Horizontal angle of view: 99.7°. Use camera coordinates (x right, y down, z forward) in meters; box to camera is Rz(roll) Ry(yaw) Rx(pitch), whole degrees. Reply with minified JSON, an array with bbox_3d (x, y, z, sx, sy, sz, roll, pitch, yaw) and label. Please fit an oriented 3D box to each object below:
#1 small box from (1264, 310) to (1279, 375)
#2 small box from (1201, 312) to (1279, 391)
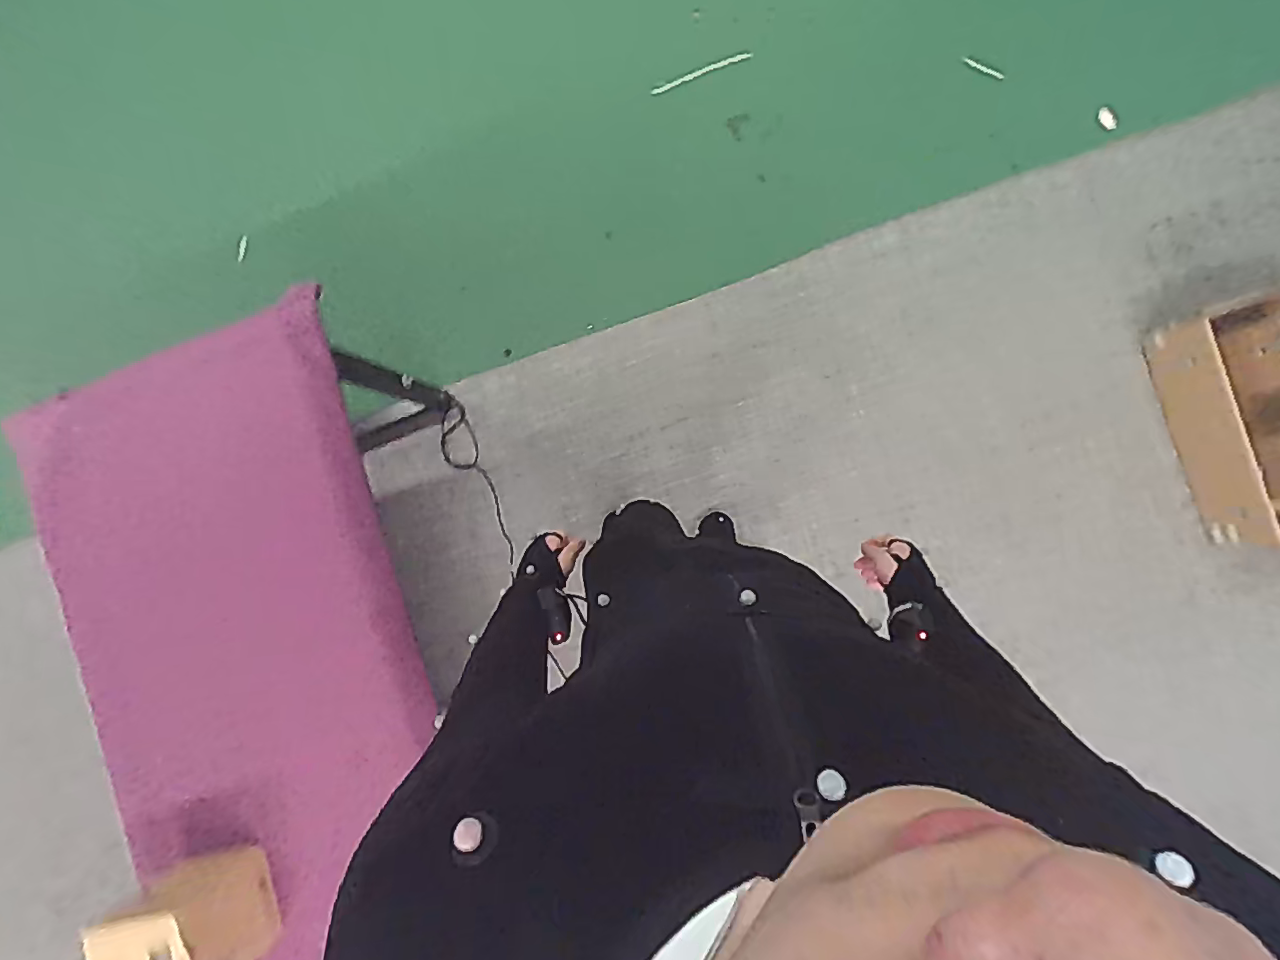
[{"bbox_3d":[1.573,-0.336,1.193,0.179,0.176,0.168,-16,88,6],"label":"small box"},{"bbox_3d":[1.591,-0.335,1.355,0.179,0.176,0.168,-15,87,5],"label":"small box"}]
